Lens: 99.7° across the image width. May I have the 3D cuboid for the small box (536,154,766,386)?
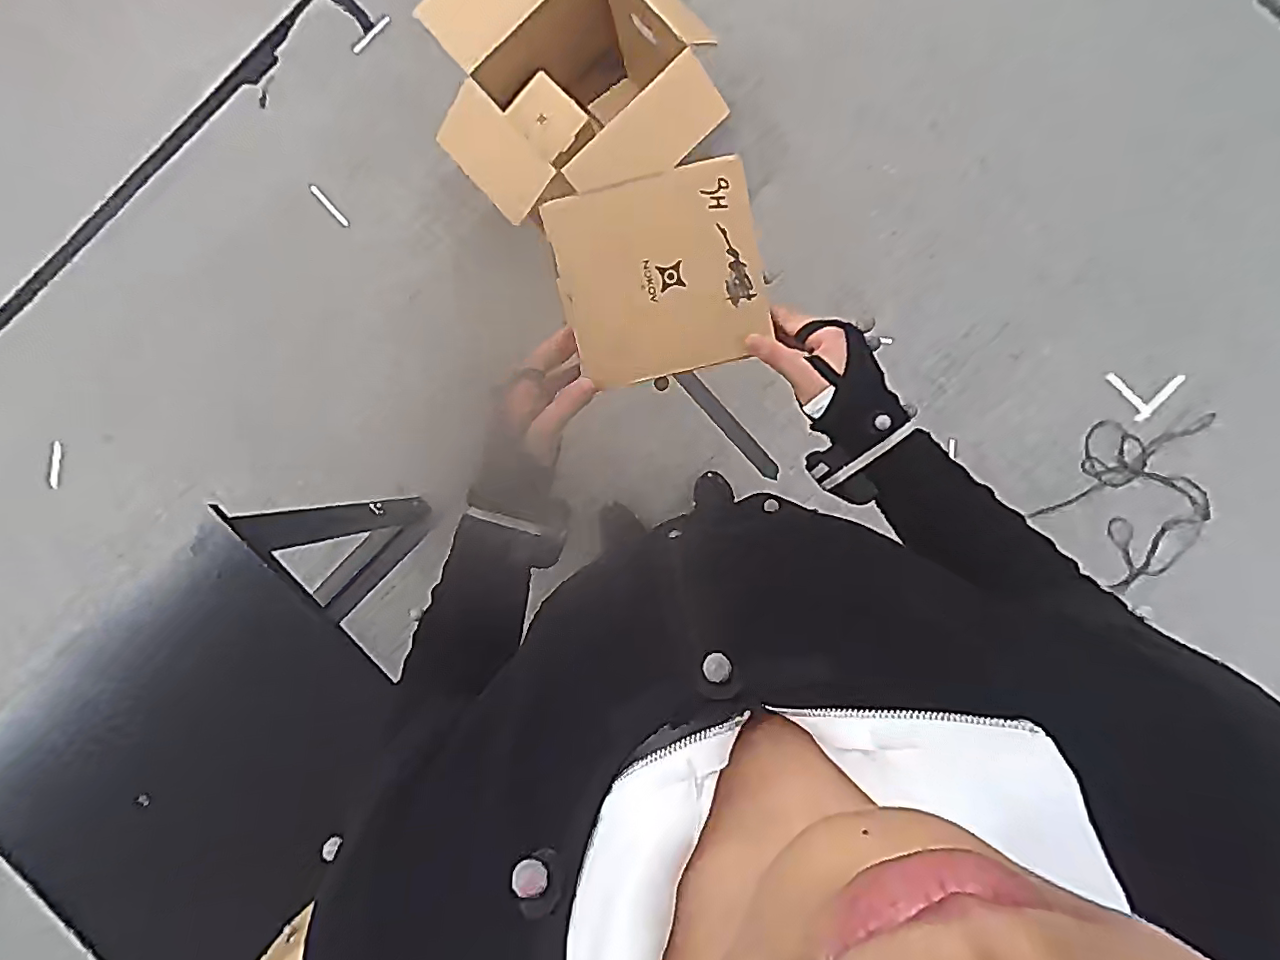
[{"bbox_3d":[0.013,-0.193,0.550,0.179,0.176,0.168,-13,100,3],"label":"small box"}]
